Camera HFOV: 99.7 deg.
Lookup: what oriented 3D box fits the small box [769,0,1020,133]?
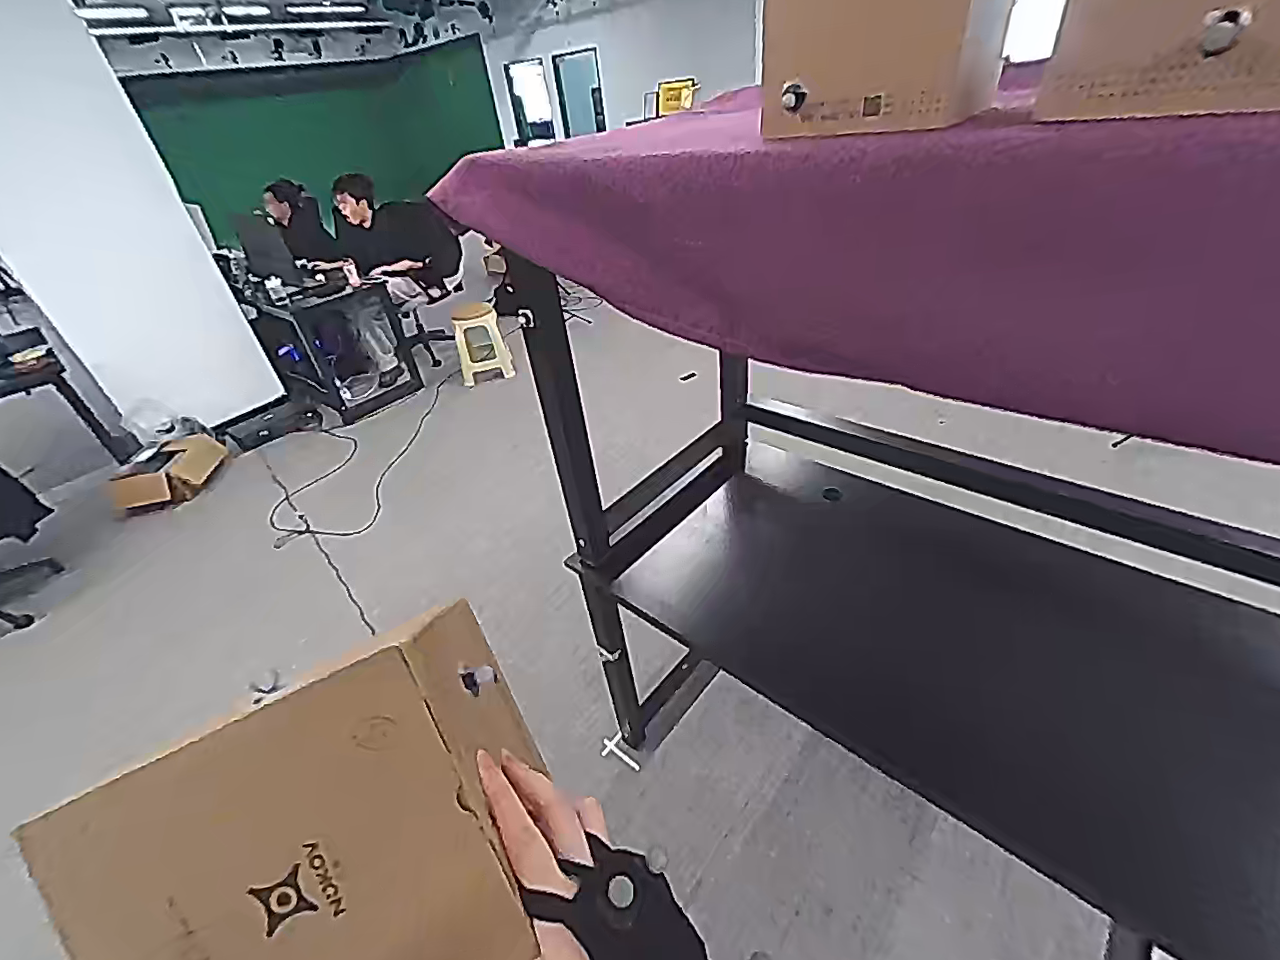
[{"bbox_3d":[0.224,-0.410,0.472,0.168,0.176,0.179,21,43,33],"label":"small box"}]

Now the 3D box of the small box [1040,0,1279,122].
[{"bbox_3d":[0.394,-0.332,0.332,0.168,0.176,0.179,-33,43,-32],"label":"small box"}]
